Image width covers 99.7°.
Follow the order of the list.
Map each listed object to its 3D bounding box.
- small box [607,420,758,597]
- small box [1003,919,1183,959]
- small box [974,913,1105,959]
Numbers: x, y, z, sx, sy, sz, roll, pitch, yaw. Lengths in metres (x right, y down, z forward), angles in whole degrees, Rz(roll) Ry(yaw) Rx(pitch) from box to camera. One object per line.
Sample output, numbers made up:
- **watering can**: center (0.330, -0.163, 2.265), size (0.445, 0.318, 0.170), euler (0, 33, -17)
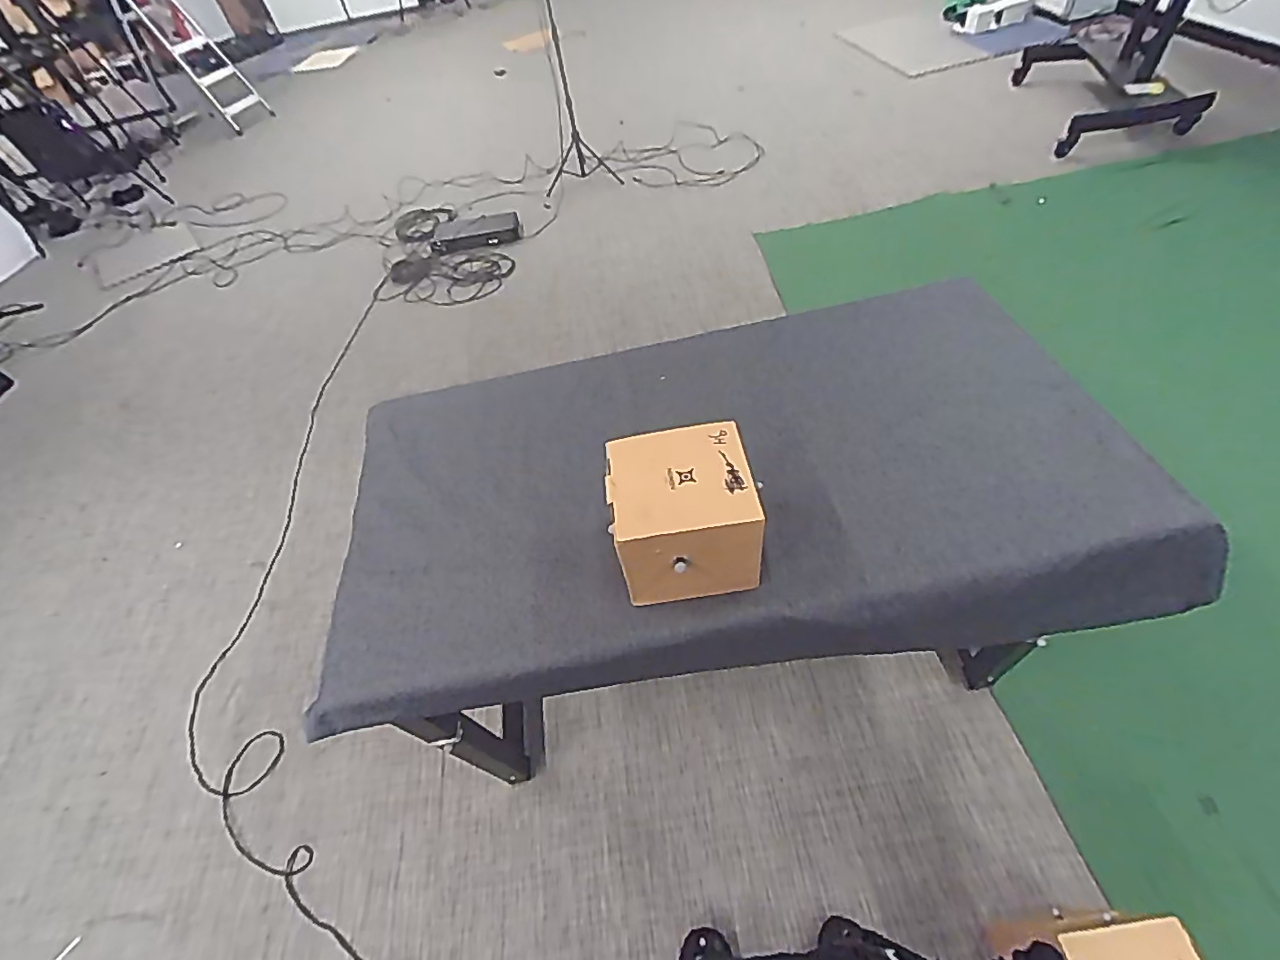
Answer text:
- **small box**: center (0.057, 0.045, 0.734), size (0.179, 0.176, 0.168), euler (-8, 51, 3)
- **small box**: center (0.690, 0.763, 0.799), size (0.179, 0.176, 0.168), euler (-10, 50, 2)
- **small box**: center (0.722, 0.861, 0.928), size (0.179, 0.176, 0.168), euler (-12, 50, 1)
